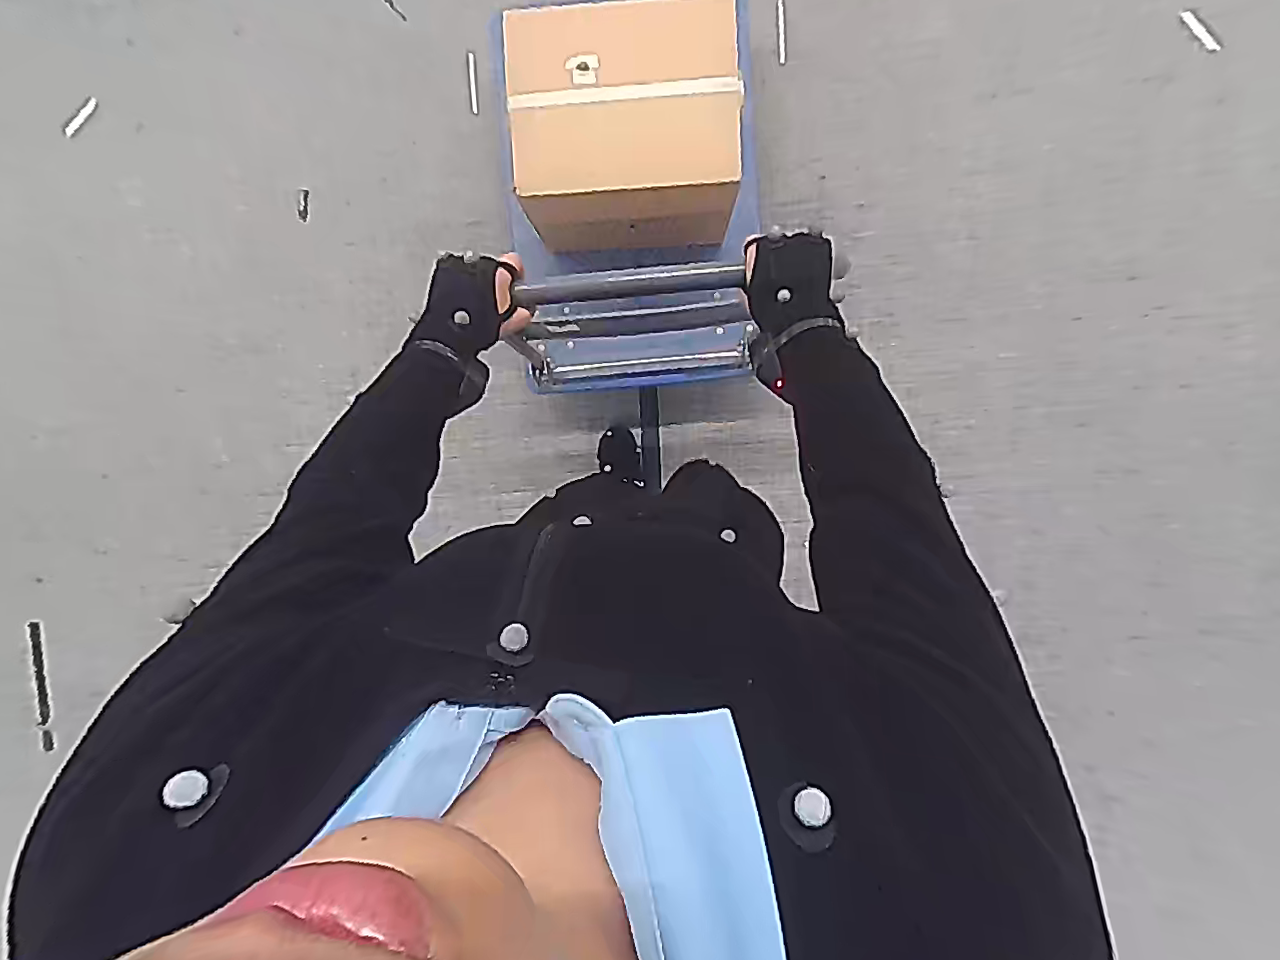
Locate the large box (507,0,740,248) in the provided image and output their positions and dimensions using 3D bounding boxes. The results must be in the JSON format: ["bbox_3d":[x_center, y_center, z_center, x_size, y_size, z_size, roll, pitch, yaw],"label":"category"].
[{"bbox_3d":[-0.021,-0.690,1.102,0.408,0.320,0.320,-3,94,3],"label":"large box"}]
